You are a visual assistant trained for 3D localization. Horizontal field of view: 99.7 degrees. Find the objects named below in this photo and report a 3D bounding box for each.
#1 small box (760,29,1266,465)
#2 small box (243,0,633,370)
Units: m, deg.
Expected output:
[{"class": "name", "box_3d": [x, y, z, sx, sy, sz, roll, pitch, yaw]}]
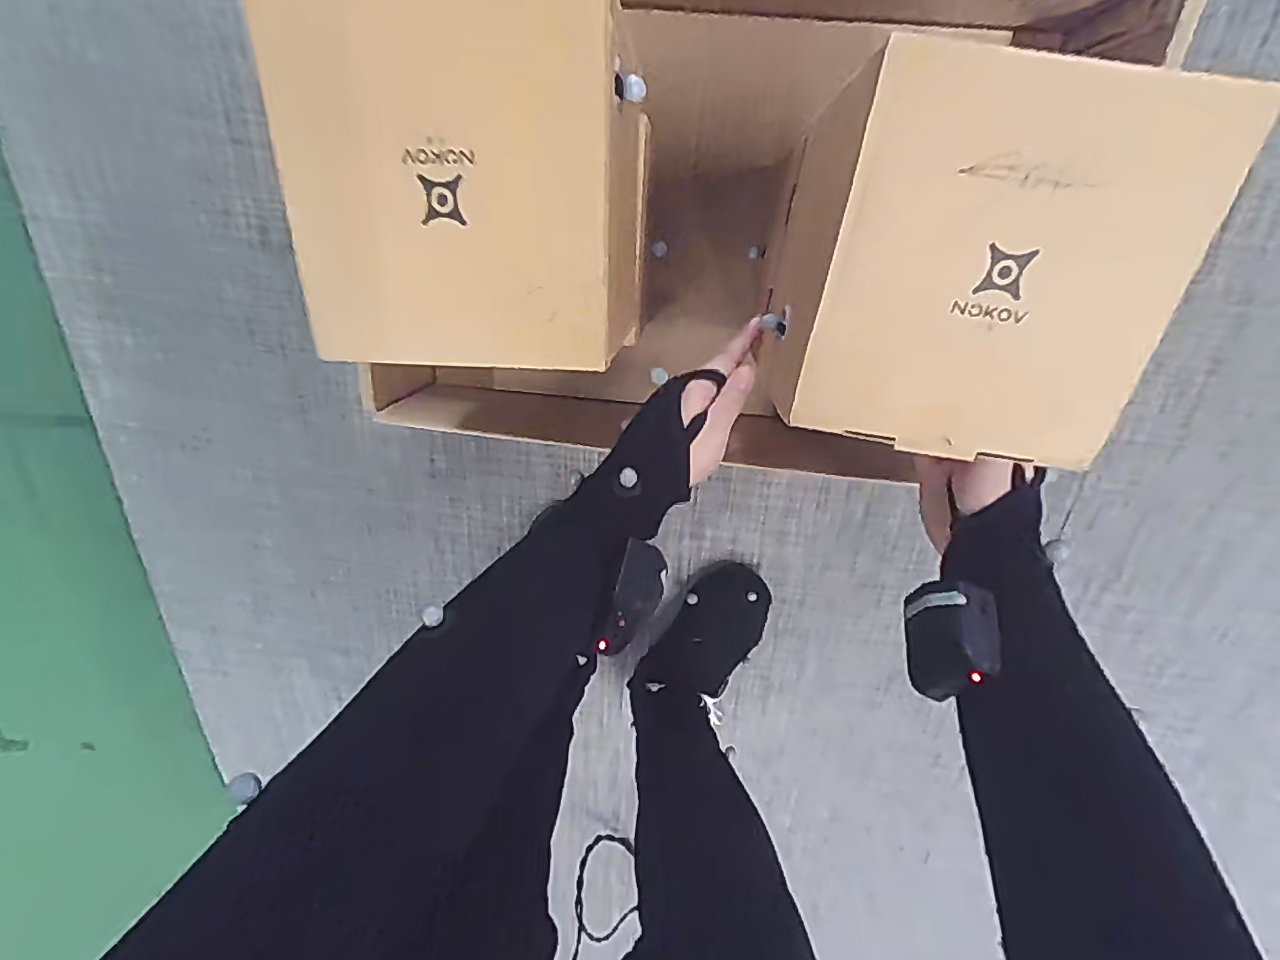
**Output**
[{"class": "small box", "box_3d": [0.175, -0.131, 0.332, 0.168, 0.176, 0.179, 9, 114, 2]}, {"class": "small box", "box_3d": [-0.094, -0.176, 0.345, 0.168, 0.176, 0.179, 2, 113, 5]}]
